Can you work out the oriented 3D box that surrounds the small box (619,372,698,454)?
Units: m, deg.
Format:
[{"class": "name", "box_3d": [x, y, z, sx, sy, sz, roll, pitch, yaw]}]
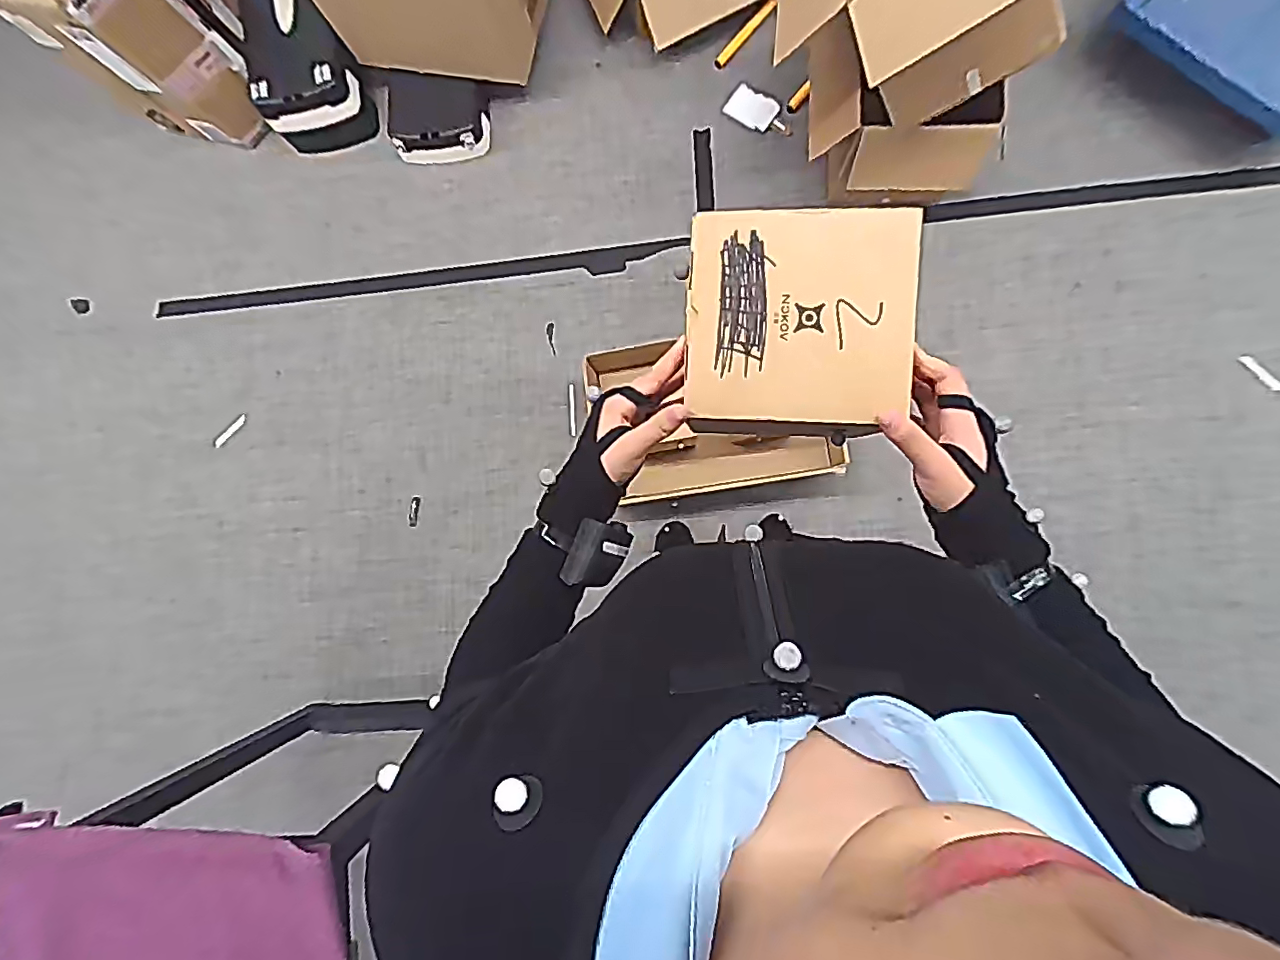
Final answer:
[{"class": "small box", "box_3d": [0.051, -0.170, 1.410, 0.179, 0.176, 0.168, -10, 84, 4]}]

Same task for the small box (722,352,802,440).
[{"class": "small box", "box_3d": [0.306, -0.209, 1.389, 0.168, 0.176, 0.179, -9, 86, 6]}]
